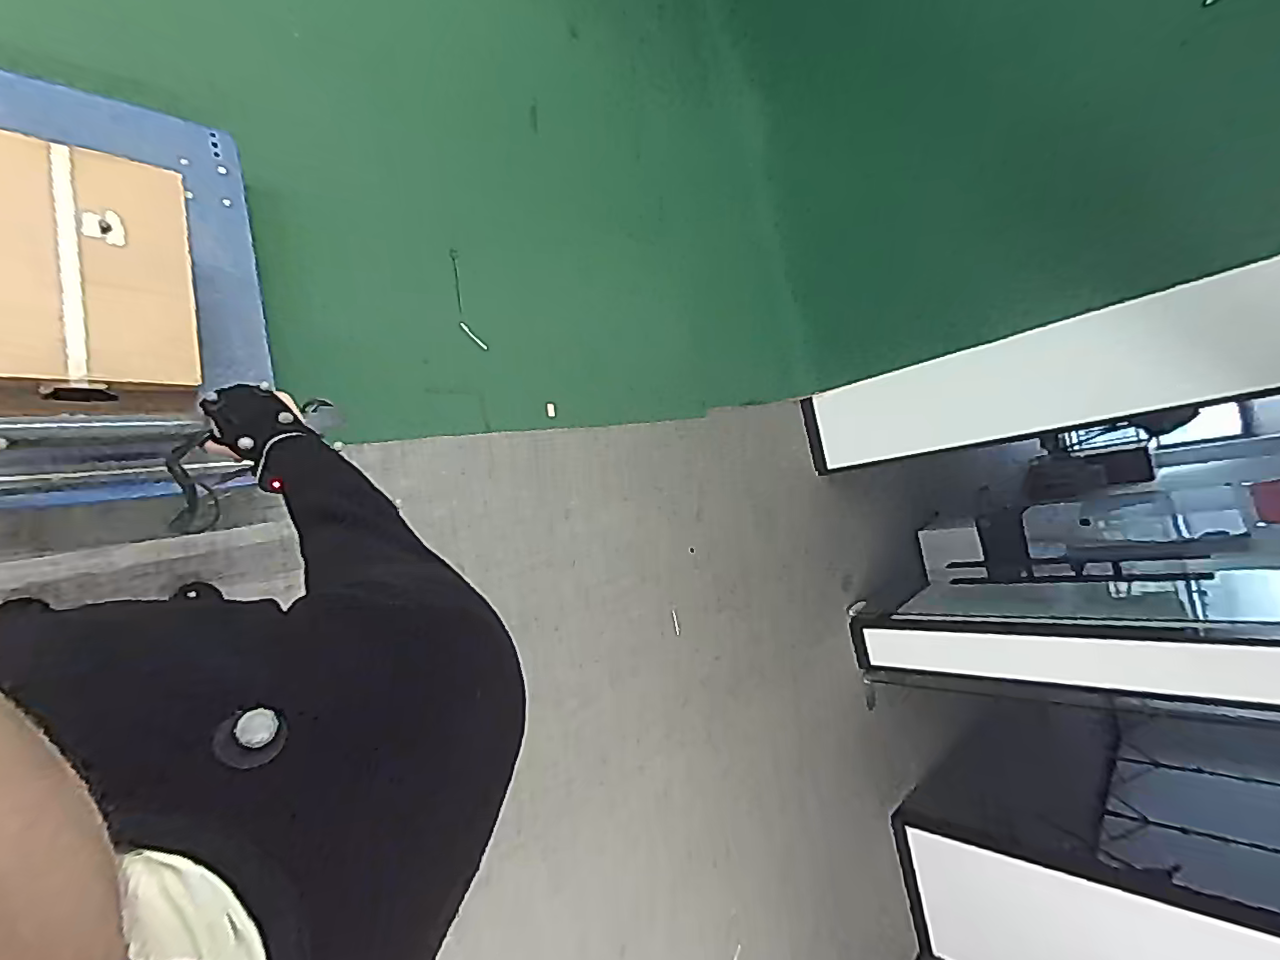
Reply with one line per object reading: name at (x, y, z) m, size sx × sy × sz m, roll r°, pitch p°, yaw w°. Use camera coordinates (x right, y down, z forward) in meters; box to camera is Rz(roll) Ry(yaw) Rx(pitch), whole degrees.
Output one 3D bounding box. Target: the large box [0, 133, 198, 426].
large box at (-1.031, -0.328, 0.983) m, size 0.320 × 0.320 × 0.408 m, roll -5°, pitch 83°, yaw -43°
